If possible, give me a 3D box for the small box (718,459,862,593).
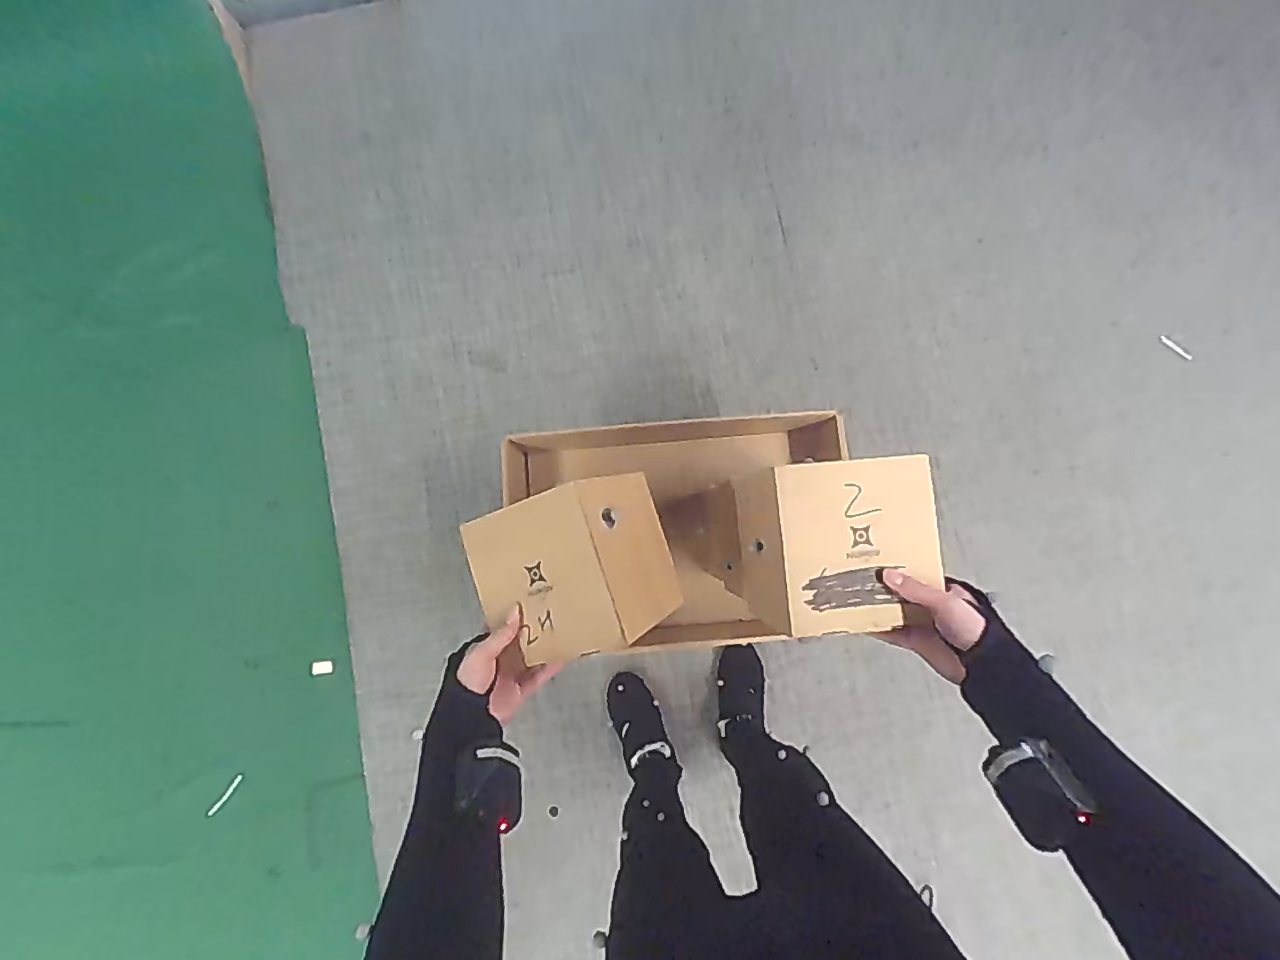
[{"bbox_3d":[0.217,0.069,0.822,0.168,0.176,0.179,-5,84,-1],"label":"small box"}]

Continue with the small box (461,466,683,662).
[{"bbox_3d":[-0.071,0.088,0.634,0.168,0.176,0.179,-20,86,26],"label":"small box"}]
